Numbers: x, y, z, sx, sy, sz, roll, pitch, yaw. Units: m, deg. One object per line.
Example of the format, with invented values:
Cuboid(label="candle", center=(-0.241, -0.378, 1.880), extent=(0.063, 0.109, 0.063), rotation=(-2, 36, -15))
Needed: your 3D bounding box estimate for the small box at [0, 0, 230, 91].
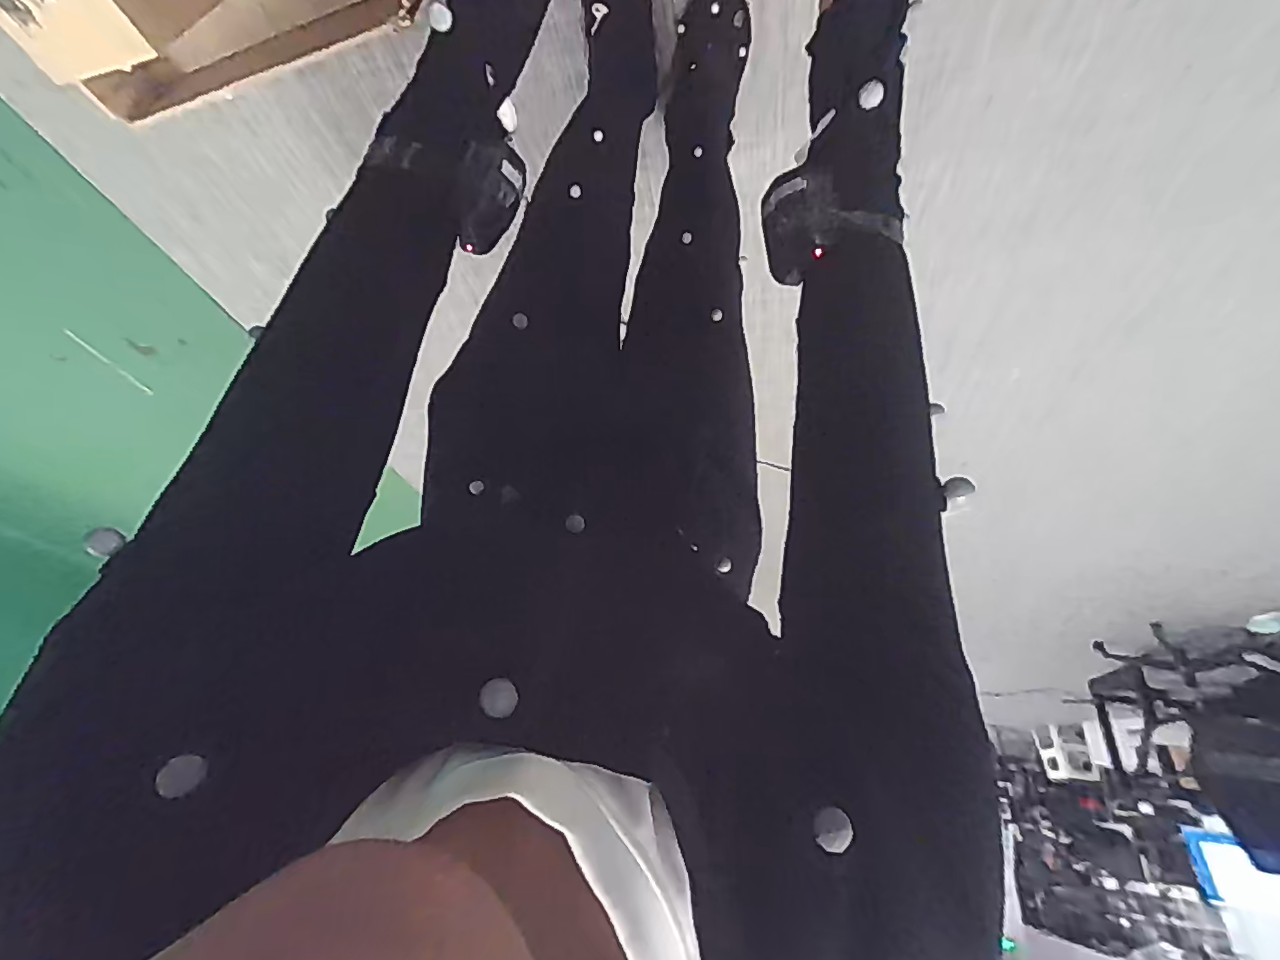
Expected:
Cuboid(label="small box", center=(-0.658, -0.618, 0.656), extent=(0.179, 0.176, 0.168), rotation=(-2, 149, 14))
